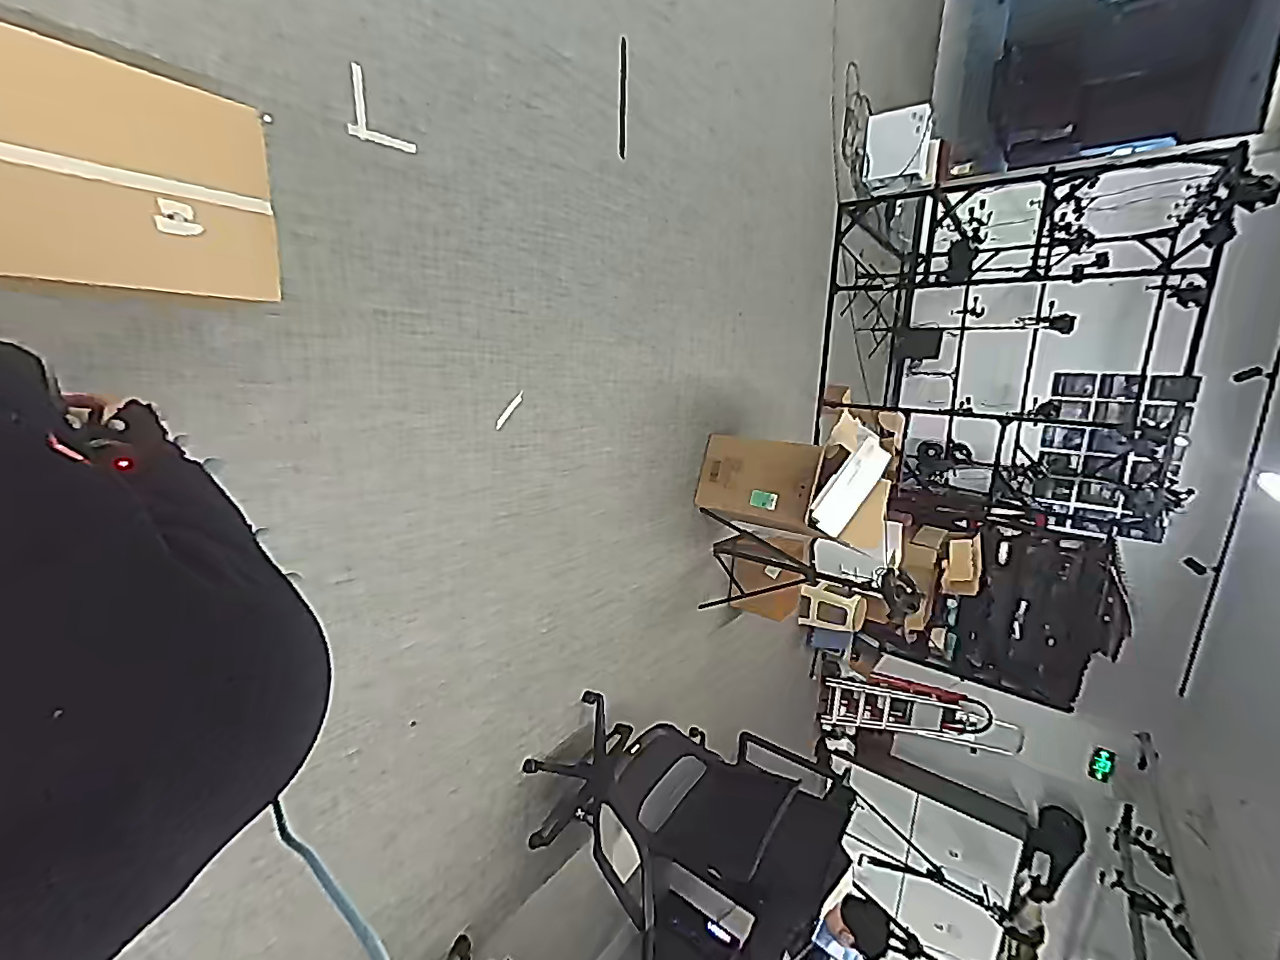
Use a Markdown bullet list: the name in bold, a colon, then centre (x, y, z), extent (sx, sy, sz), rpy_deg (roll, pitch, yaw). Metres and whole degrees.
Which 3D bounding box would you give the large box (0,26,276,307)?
- **large box**: centre (-0.889, -0.460, 0.866), extent (0.408, 0.320, 0.320), rpy_deg (-15, 111, -53)
